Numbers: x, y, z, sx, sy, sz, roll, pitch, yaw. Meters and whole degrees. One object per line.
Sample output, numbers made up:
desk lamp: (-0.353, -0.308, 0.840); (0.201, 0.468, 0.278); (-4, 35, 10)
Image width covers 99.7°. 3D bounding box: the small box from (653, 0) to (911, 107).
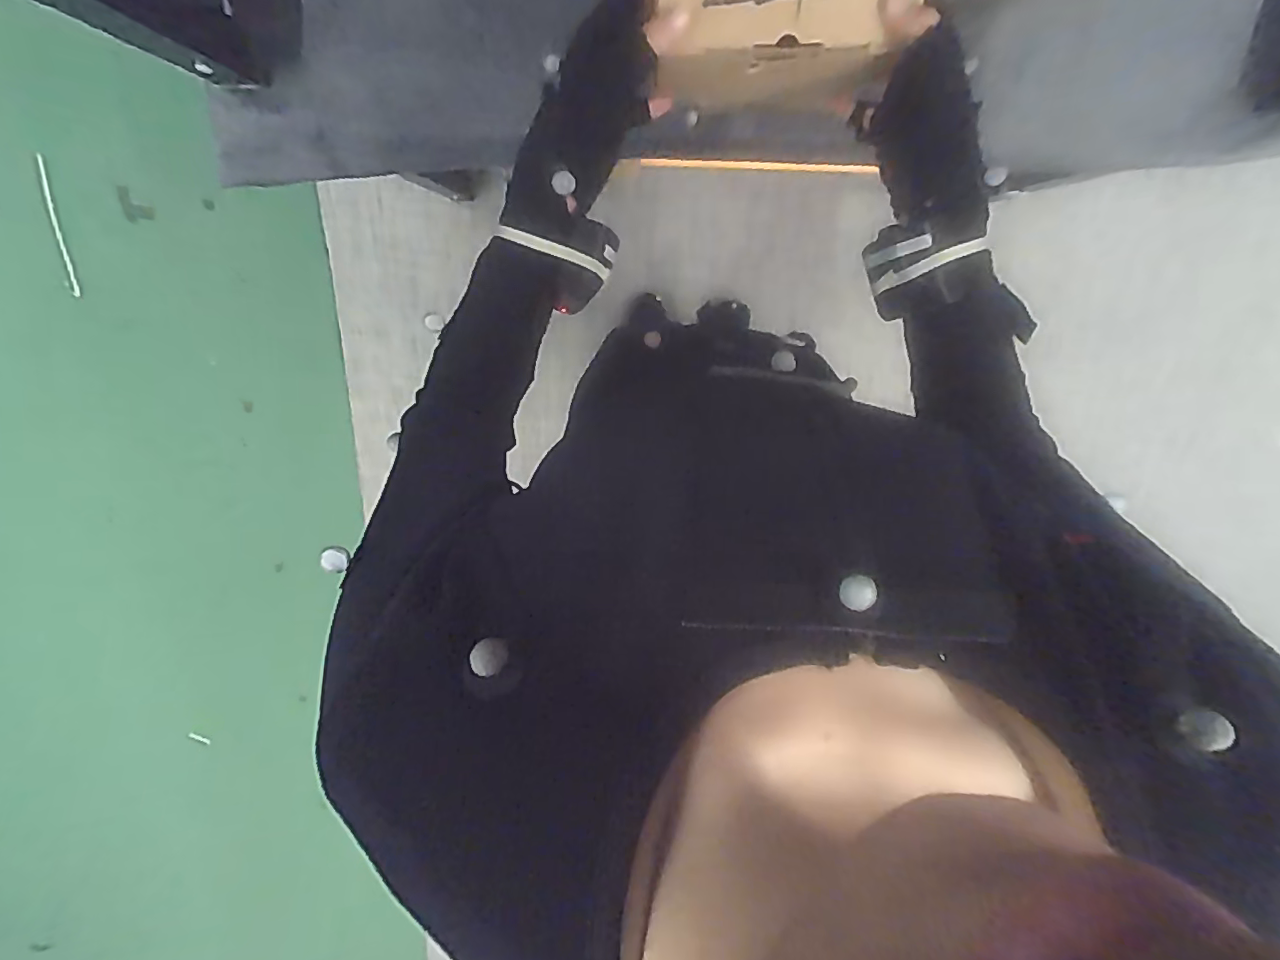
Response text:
small box: (0.094, -0.394, 0.399); (0.168, 0.176, 0.179); (-1, 112, 1)
